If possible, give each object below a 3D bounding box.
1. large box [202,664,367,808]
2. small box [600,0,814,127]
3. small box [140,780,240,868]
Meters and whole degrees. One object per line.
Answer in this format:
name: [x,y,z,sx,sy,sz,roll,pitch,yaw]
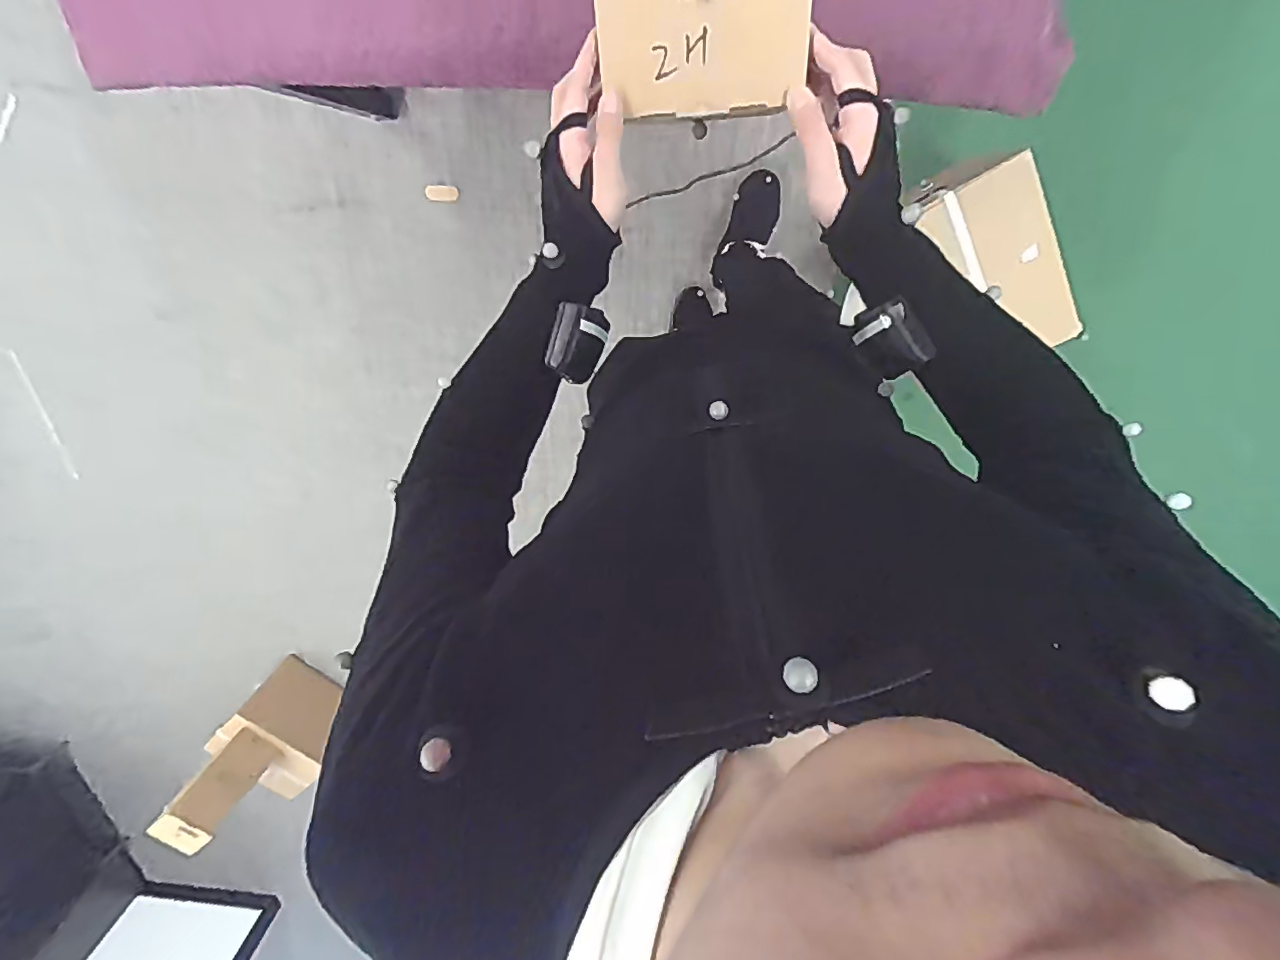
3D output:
large box: [-1.434,1.039,2.210,0.320,0.320,0.408,-40,107,22]
small box: [0.055,-0.420,0.470,0.168,0.176,0.179,-1,121,7]
small box: [-1.494,1.146,1.810,0.179,0.176,0.168,-39,107,21]
